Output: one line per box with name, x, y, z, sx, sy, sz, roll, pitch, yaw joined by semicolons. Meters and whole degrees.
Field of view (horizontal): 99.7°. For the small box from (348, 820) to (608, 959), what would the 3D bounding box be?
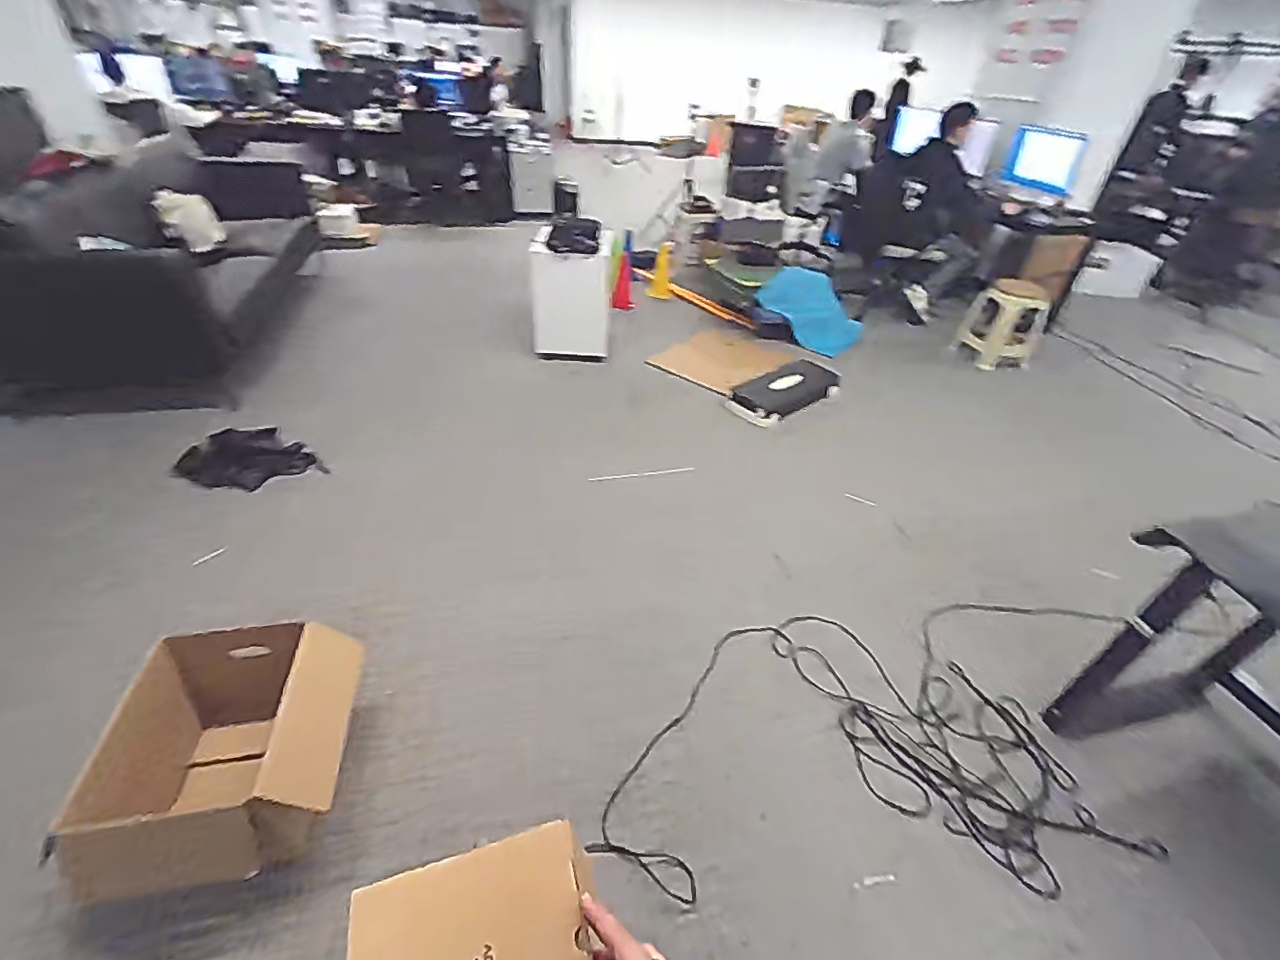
small box;-0.115;0.411;0.433;0.179;0.176;0.168;-11;44;-11
